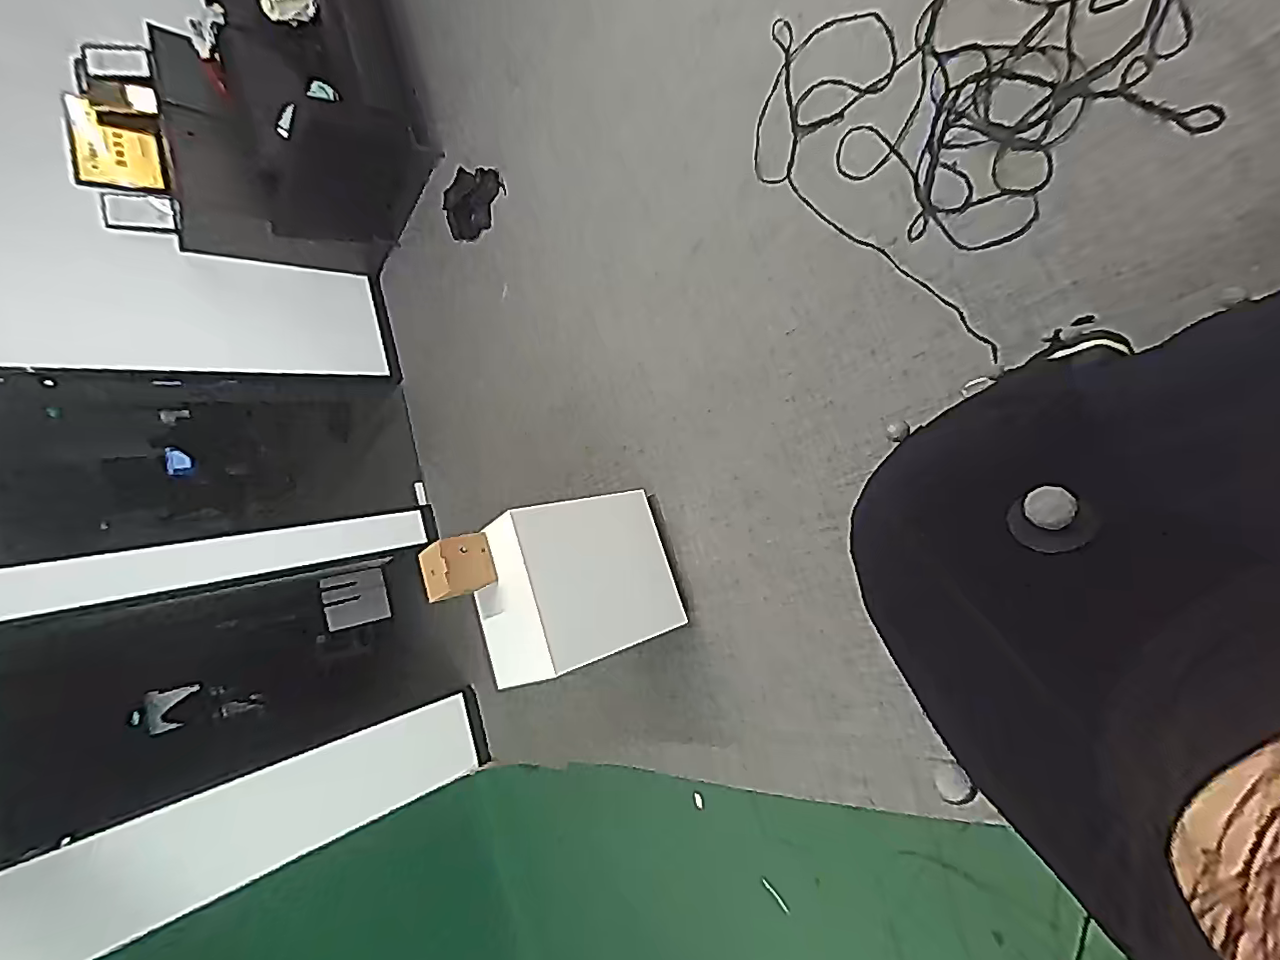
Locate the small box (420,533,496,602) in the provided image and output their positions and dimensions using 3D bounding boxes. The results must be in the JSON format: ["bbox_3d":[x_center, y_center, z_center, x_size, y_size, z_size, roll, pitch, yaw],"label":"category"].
[{"bbox_3d":[-0.579,0.279,1.737,0.179,0.176,0.168,-31,73,46],"label":"small box"}]
